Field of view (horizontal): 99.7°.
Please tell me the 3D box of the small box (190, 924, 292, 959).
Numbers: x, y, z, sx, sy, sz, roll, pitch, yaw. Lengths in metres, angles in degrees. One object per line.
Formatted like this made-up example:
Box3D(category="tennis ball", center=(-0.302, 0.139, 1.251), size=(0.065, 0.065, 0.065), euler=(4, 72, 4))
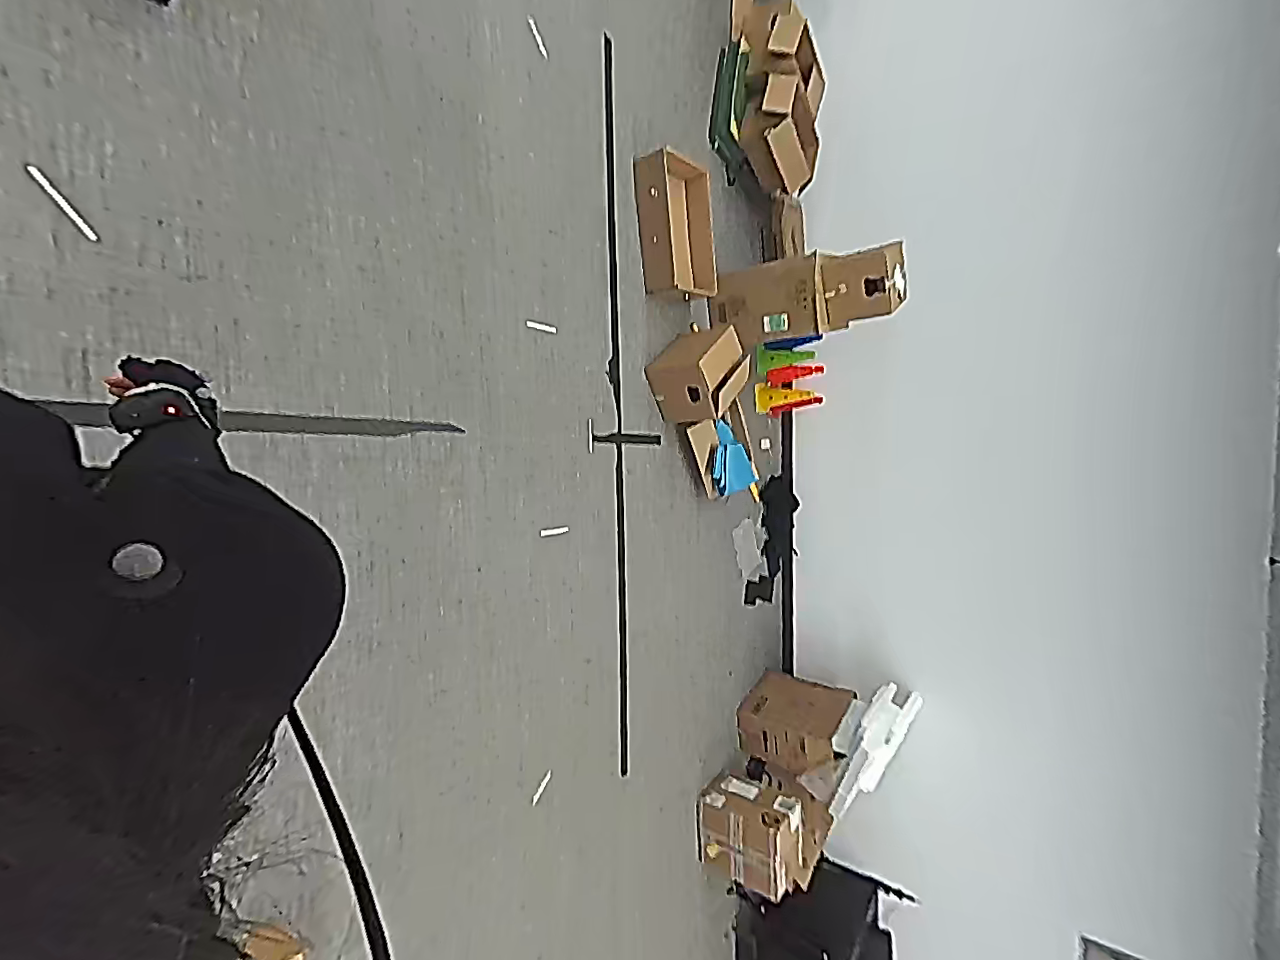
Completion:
Box3D(category="small box", center=(-0.951, 1.193, 1.254), size=(0.179, 0.176, 0.168), euler=(17, 78, -53))
